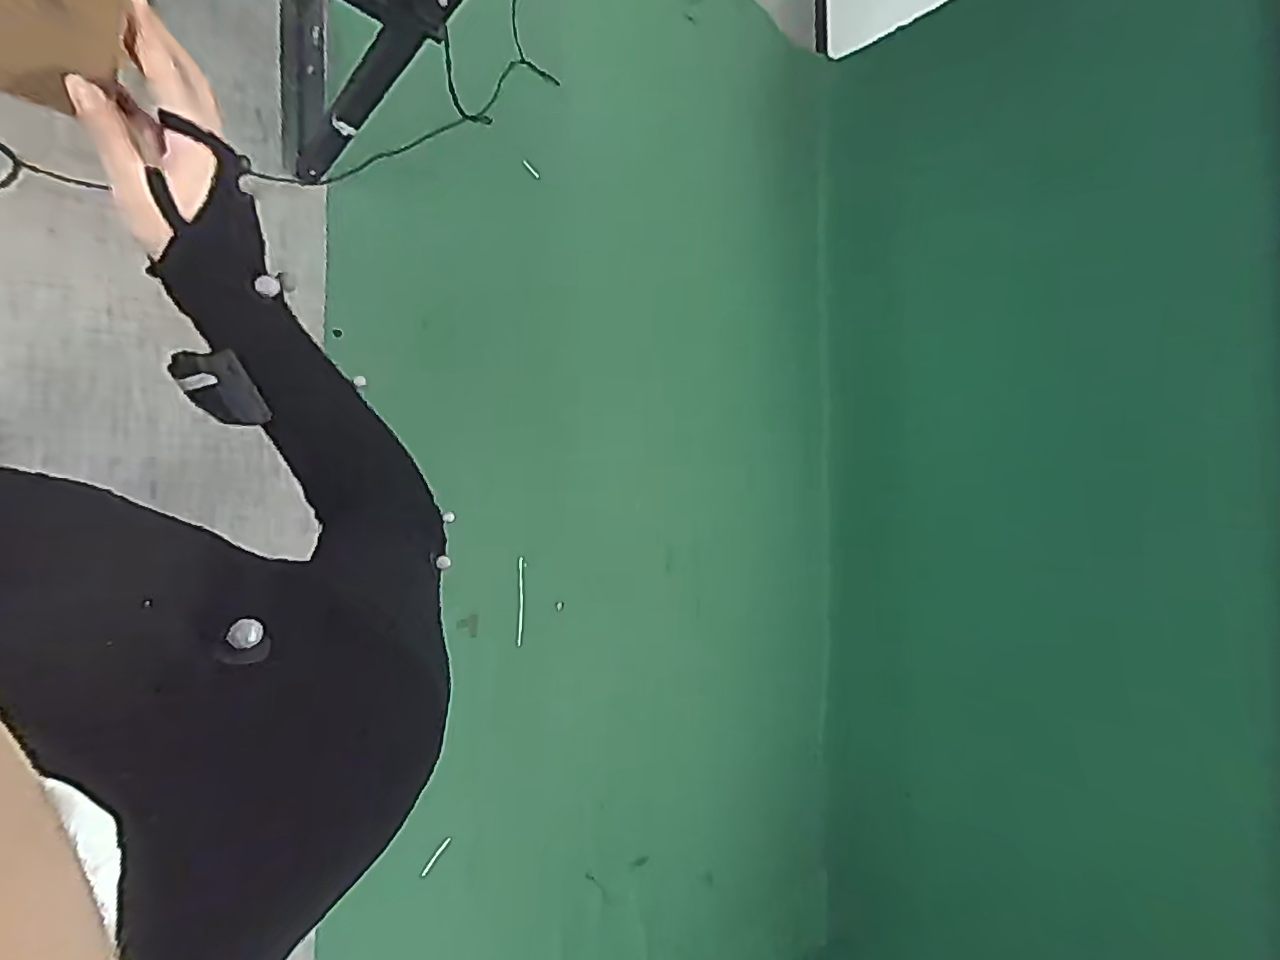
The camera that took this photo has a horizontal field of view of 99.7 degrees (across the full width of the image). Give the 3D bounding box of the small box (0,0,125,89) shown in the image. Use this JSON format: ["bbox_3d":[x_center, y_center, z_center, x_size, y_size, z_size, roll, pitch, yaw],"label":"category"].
[{"bbox_3d":[-0.368,-0.342,0.263,0.179,0.176,0.168,3,84,-45],"label":"small box"}]
